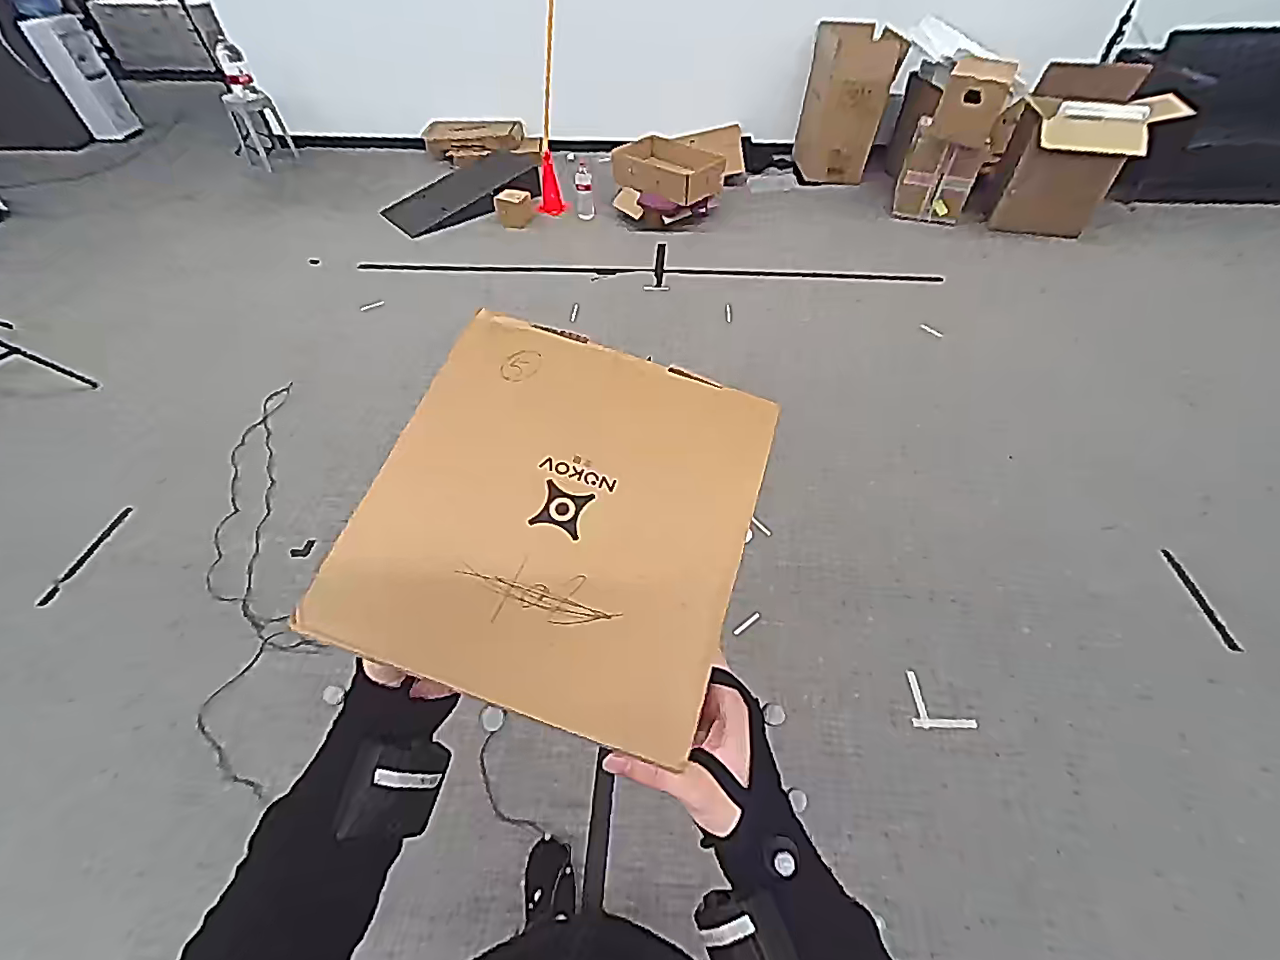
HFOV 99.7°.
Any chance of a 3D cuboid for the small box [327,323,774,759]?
[{"bbox_3d":[-0.038,0.045,0.328,0.168,0.176,0.179,18,66,3],"label":"small box"}]
